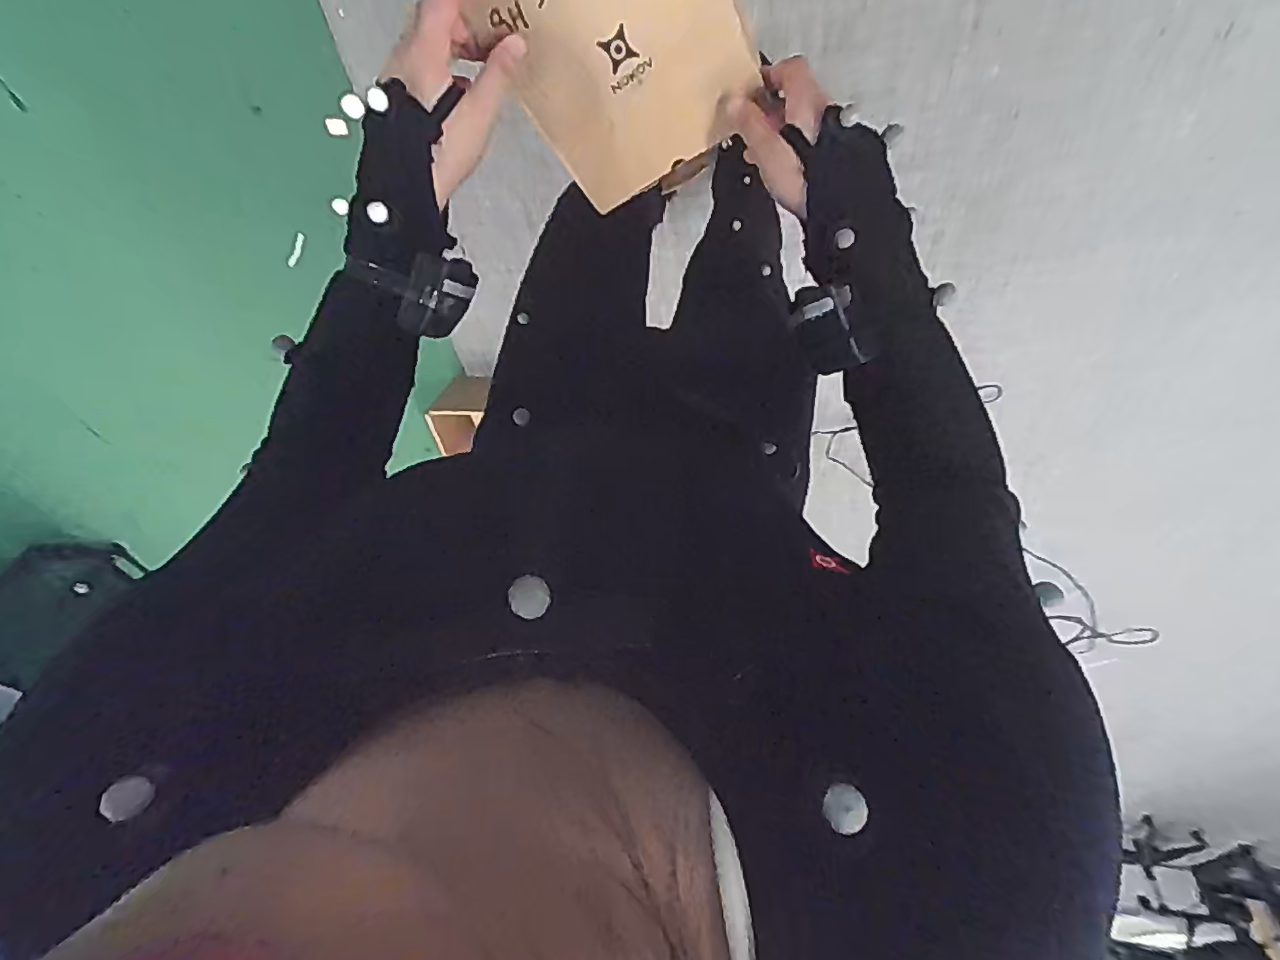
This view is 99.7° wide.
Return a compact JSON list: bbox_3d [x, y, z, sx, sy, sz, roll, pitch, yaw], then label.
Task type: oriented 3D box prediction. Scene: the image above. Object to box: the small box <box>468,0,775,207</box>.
[{"bbox_3d":[-0.004,-0.373,0.434,0.168,0.176,0.179,-18,142,25],"label":"small box"}]
